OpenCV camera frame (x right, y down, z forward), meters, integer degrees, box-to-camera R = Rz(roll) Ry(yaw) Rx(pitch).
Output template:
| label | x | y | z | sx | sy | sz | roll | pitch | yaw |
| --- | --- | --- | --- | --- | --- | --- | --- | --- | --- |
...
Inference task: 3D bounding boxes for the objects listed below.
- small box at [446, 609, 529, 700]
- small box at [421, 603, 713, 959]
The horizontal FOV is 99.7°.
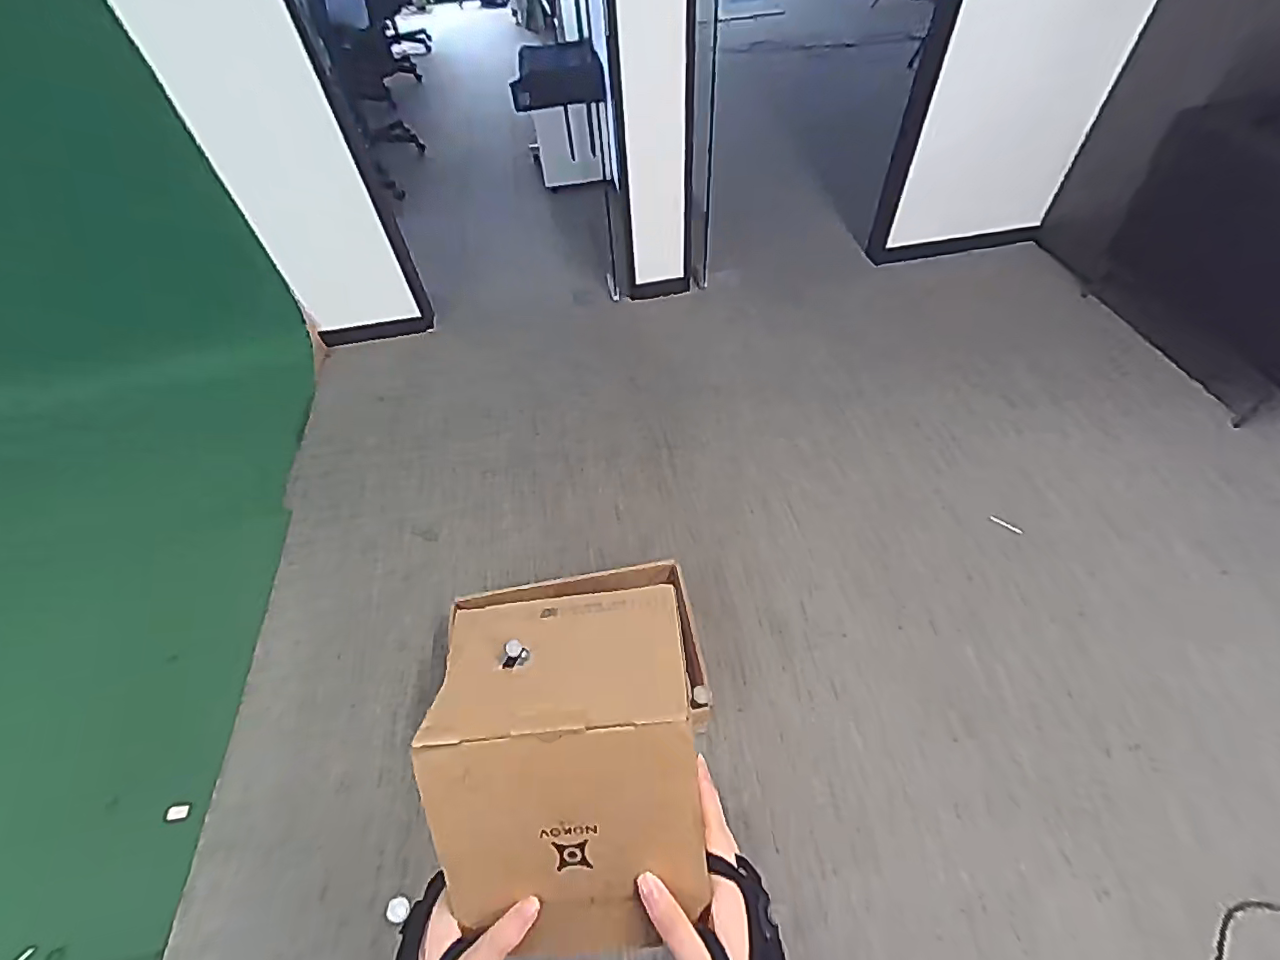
| label | x | y | z | sx | sy | sz | roll | pitch | yaw |
| --- | --- | --- | --- | --- | --- | --- | --- | --- | --- |
| small box | -0.311 | 0.409 | 1.205 | 0.168 | 0.176 | 0.179 | -4 | 50 | 0 |
| small box | -0.041 | 0.207 | 0.415 | 0.168 | 0.179 | 0.176 | -6 | 15 | 3 |
